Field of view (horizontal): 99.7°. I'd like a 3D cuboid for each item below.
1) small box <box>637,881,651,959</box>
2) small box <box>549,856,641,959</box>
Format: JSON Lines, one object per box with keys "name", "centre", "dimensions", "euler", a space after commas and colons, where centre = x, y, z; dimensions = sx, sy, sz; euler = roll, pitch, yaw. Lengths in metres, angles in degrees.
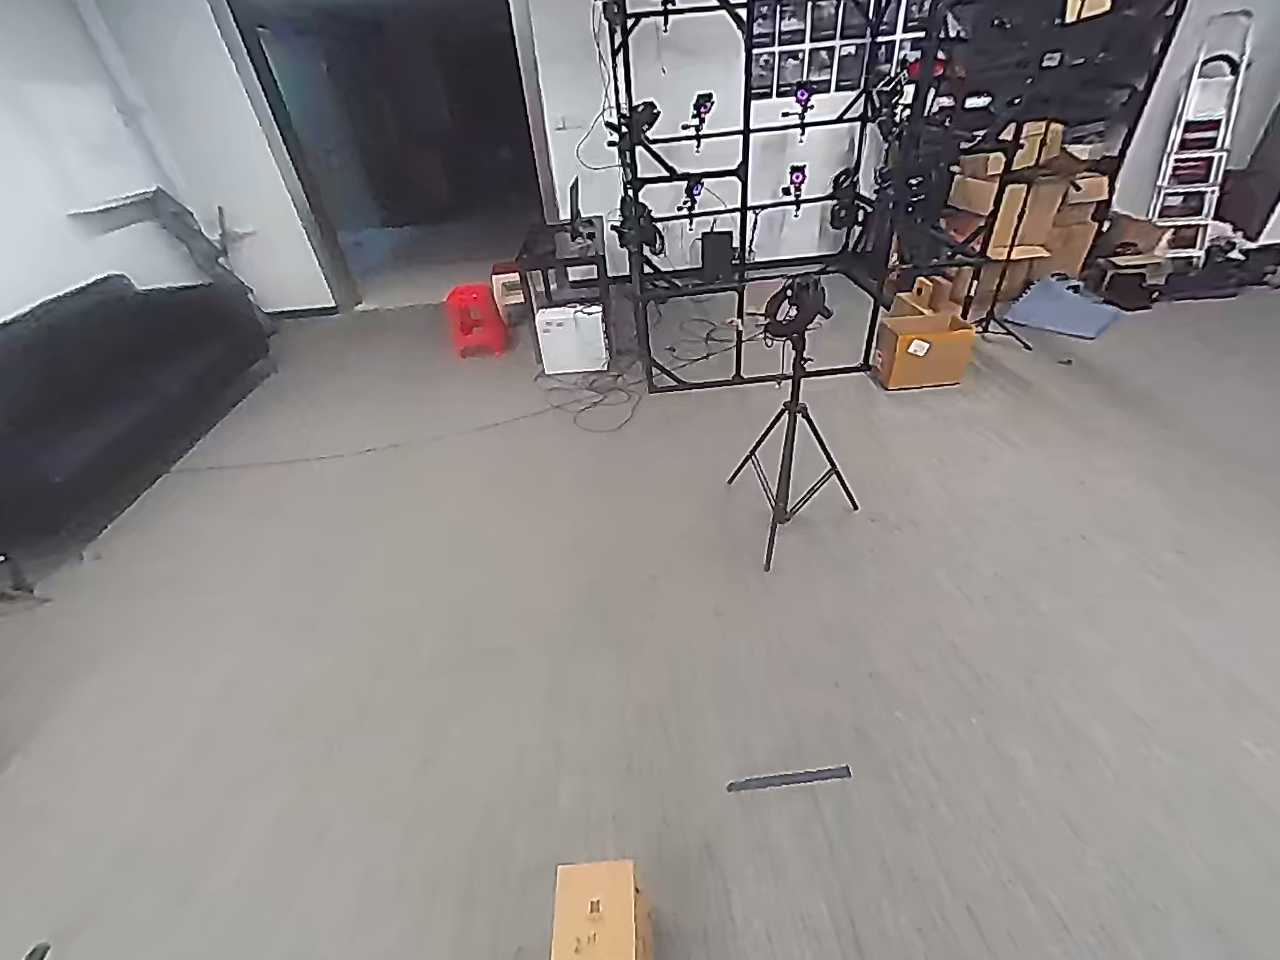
{"name": "small box", "centre": [-0.065, 1.053, 1.234], "dimensions": [0.168, 0.176, 0.179], "euler": [-5, 36, 3]}
{"name": "small box", "centre": [-0.087, 0.924, 1.134], "dimensions": [0.168, 0.176, 0.179], "euler": [-6, 37, 2]}
